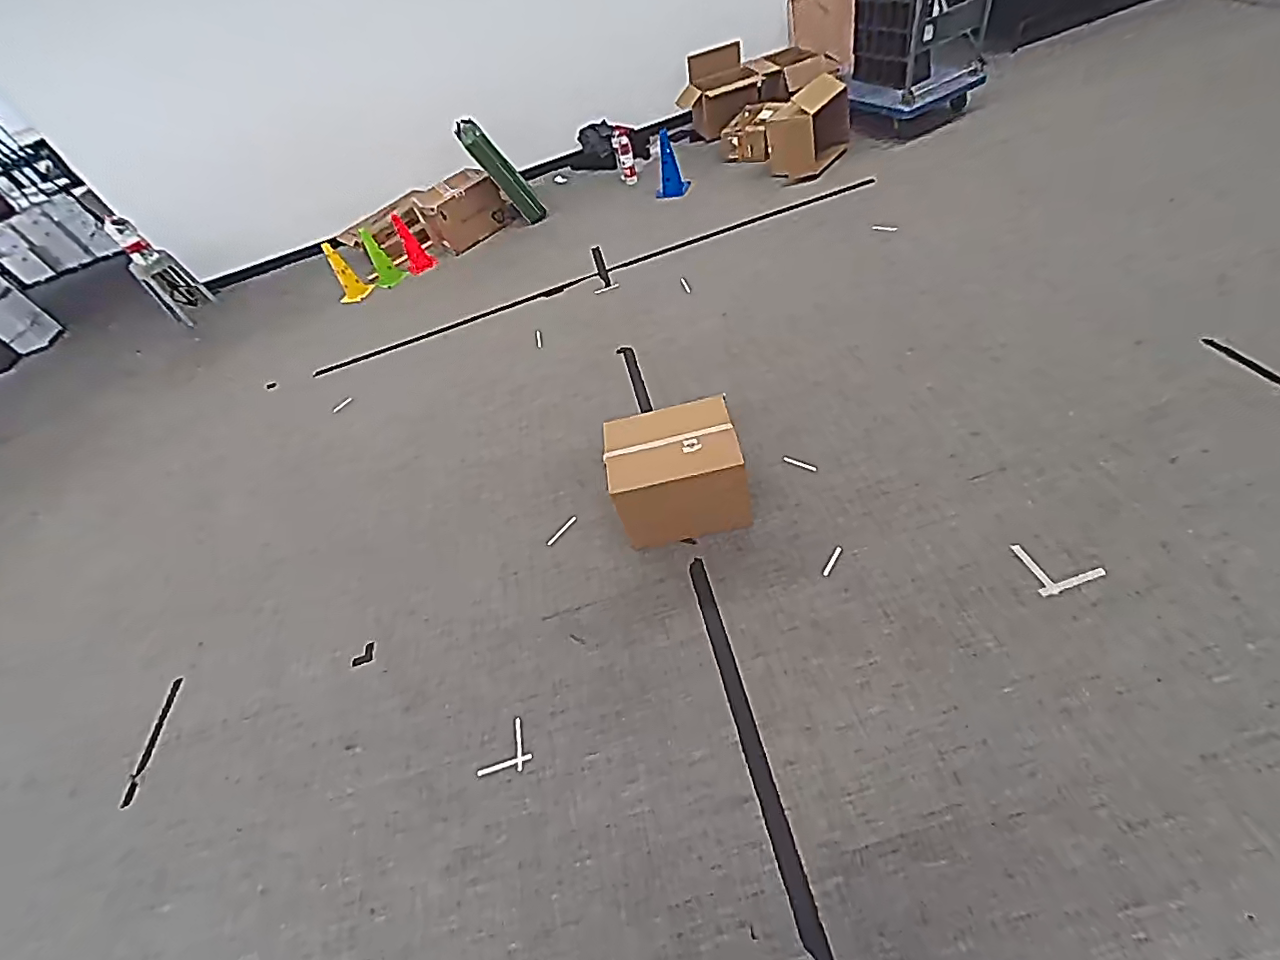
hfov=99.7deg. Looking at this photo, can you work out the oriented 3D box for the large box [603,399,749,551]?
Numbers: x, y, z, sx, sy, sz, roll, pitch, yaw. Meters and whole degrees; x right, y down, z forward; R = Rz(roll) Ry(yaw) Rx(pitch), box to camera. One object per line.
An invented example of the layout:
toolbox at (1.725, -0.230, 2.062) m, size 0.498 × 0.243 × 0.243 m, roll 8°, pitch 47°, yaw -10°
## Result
large box at (0.116, -0.010, 1.762) m, size 0.408 × 0.320 × 0.320 m, roll -12°, pitch 49°, yaw 5°
